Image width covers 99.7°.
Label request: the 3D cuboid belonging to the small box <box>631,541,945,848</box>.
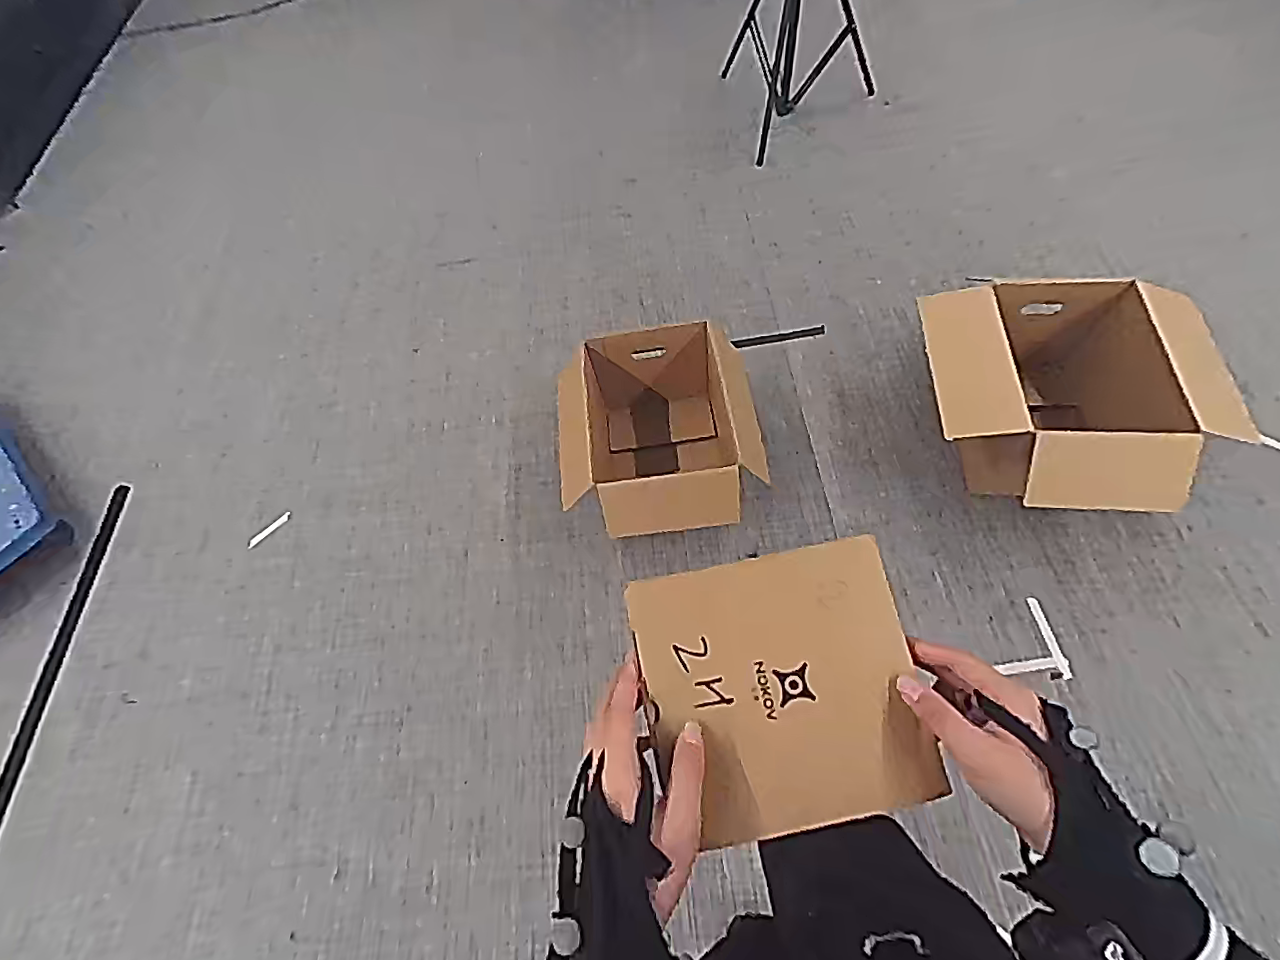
[{"bbox_3d":[0.093,0.150,0.428,0.179,0.176,0.168,-11,76,-1],"label":"small box"}]
